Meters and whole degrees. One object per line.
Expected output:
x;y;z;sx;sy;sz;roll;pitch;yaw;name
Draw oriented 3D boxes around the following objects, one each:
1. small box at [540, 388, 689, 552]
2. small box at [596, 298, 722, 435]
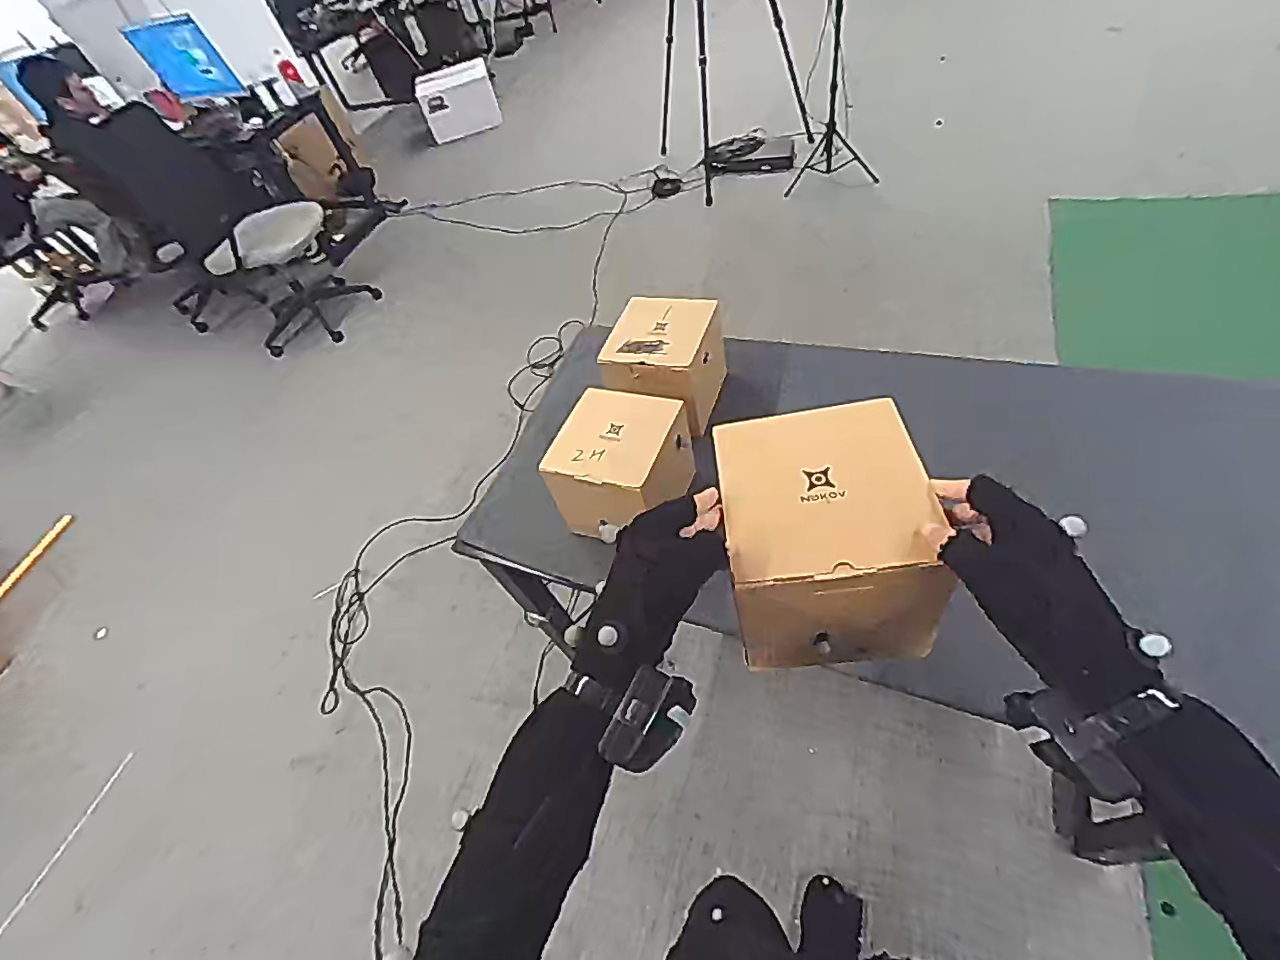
-0.027;-0.016;0.849;0.168;0.176;0.179;12;56;22;small box
0.045;-0.203;0.974;0.168;0.176;0.179;10;56;21;small box
